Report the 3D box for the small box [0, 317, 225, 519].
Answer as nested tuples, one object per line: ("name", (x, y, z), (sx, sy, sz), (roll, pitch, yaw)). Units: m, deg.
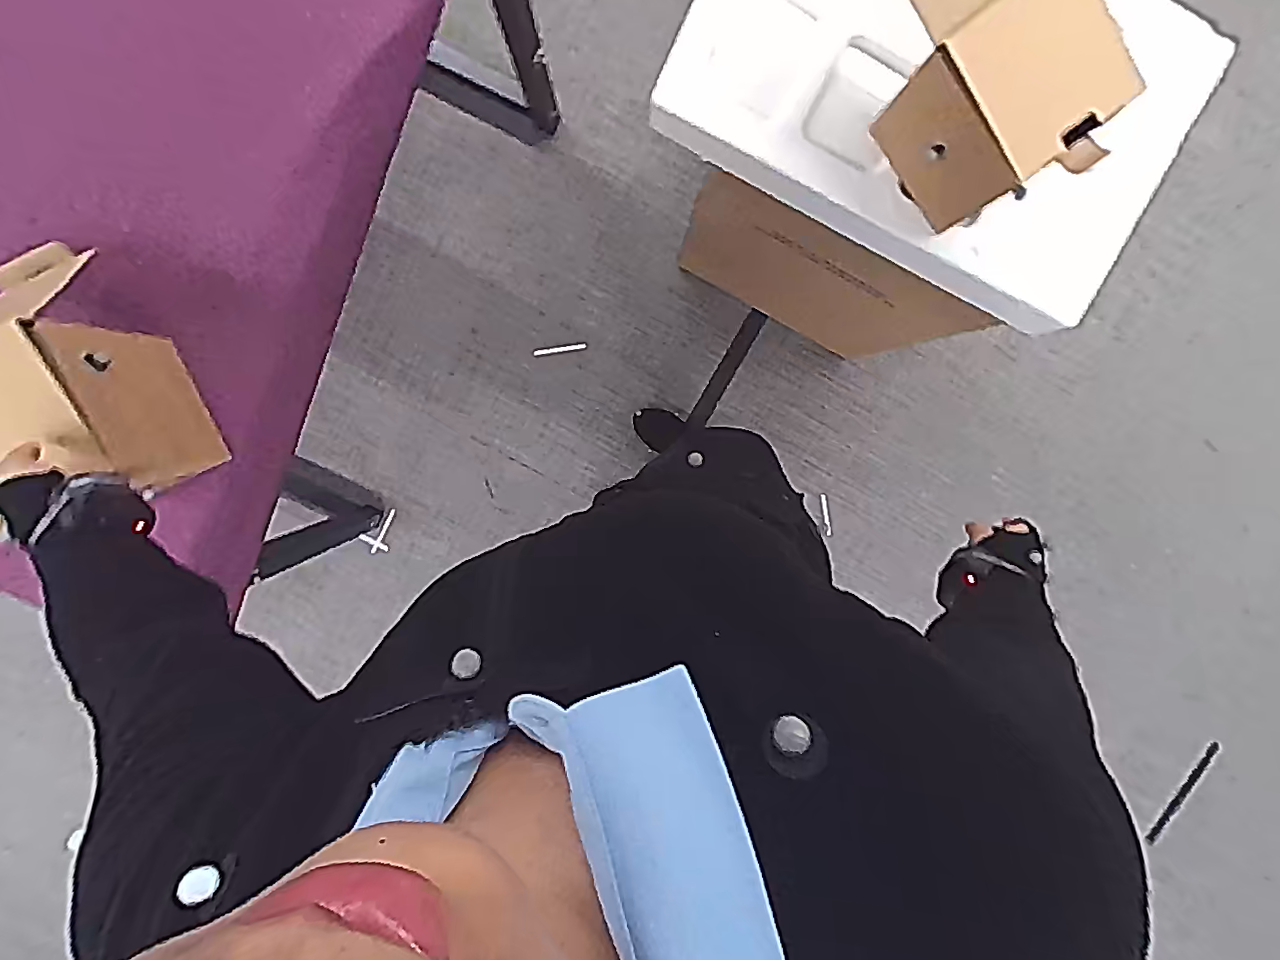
("small box", (-0.667, -0.070, 0.653), (0.168, 0.176, 0.179), (-23, 96, 3))
